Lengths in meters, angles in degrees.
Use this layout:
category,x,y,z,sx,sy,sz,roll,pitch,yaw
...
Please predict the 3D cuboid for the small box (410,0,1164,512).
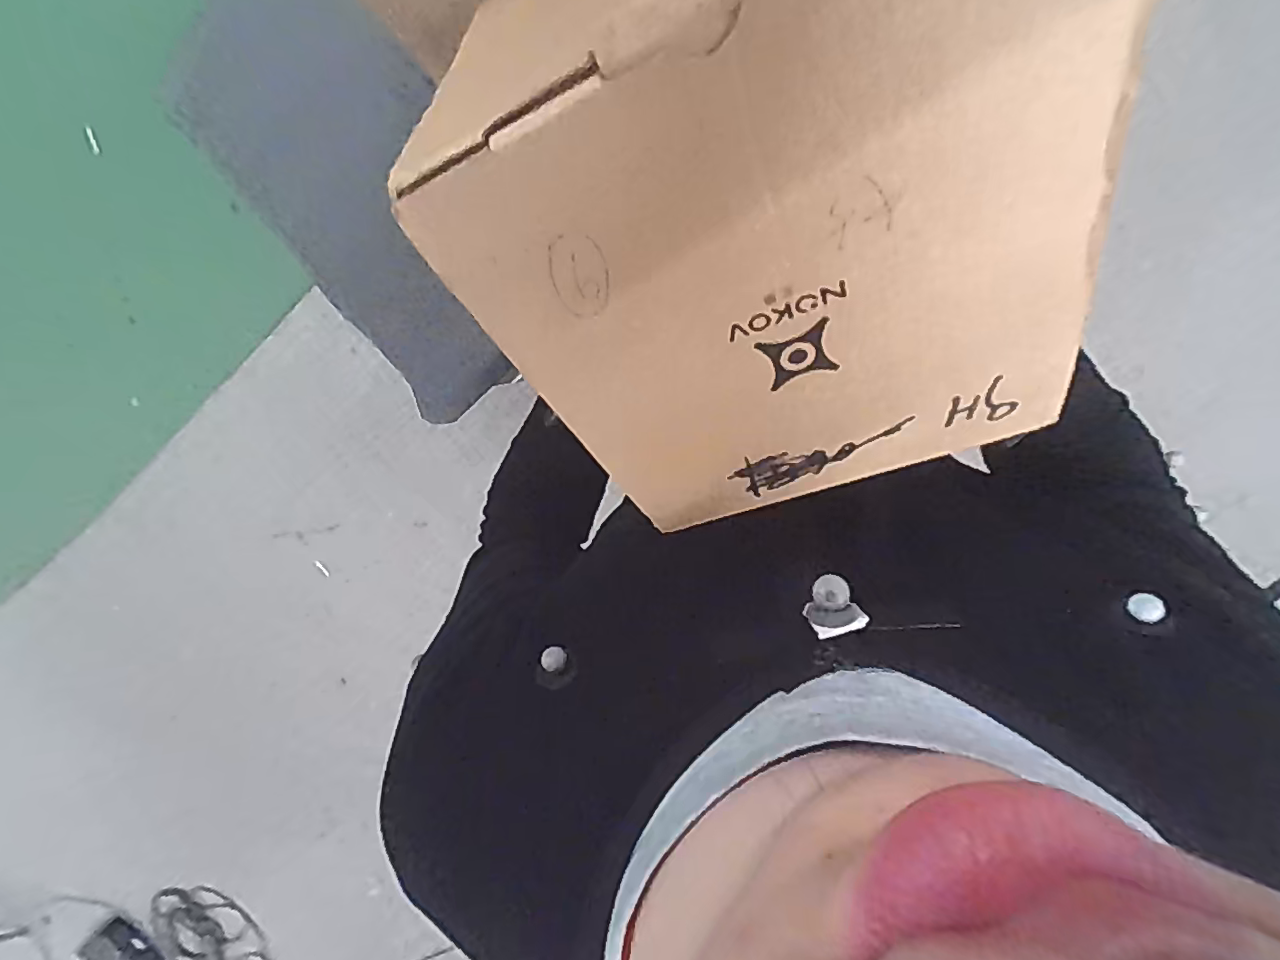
category,x,y,z,sx,sy,sz,roll,pitch,yaw
small box,0.048,-0.118,0.217,0.168,0.176,0.179,-16,140,18
